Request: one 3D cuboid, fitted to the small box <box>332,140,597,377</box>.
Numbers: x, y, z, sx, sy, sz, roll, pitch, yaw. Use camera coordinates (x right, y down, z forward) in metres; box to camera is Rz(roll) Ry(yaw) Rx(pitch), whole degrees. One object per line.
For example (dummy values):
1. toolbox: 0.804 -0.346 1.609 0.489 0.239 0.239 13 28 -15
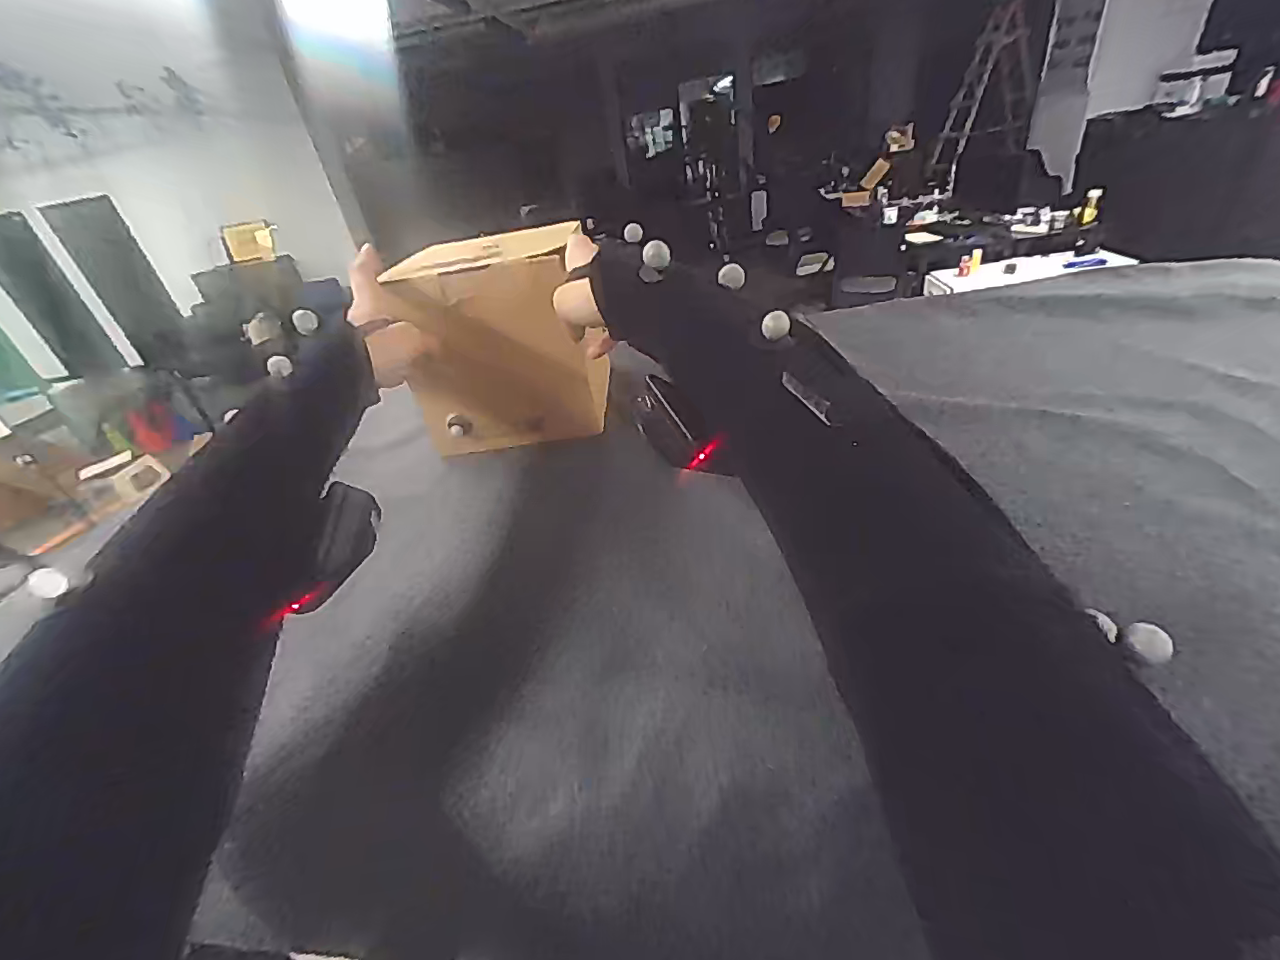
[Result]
1. small box: -0.139 -0.204 0.509 0.168 0.176 0.179 -7 33 4
